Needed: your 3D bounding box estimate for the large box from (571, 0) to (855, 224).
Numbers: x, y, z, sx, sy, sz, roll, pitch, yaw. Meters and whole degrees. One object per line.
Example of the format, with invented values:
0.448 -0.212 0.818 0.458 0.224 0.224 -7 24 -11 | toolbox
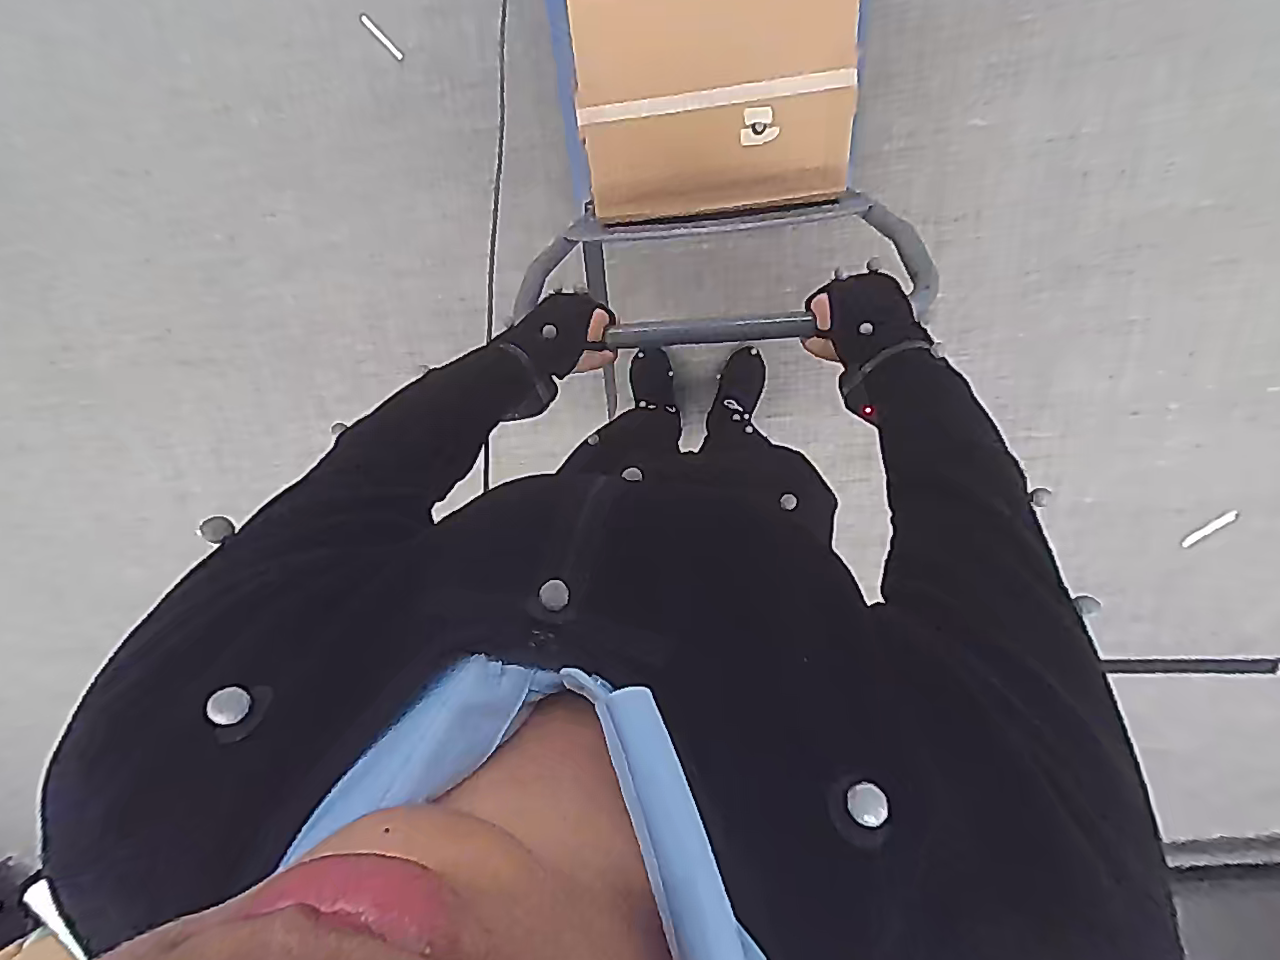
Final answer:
0.127 -0.656 0.947 0.408 0.320 0.320 -3 121 8 | large box
